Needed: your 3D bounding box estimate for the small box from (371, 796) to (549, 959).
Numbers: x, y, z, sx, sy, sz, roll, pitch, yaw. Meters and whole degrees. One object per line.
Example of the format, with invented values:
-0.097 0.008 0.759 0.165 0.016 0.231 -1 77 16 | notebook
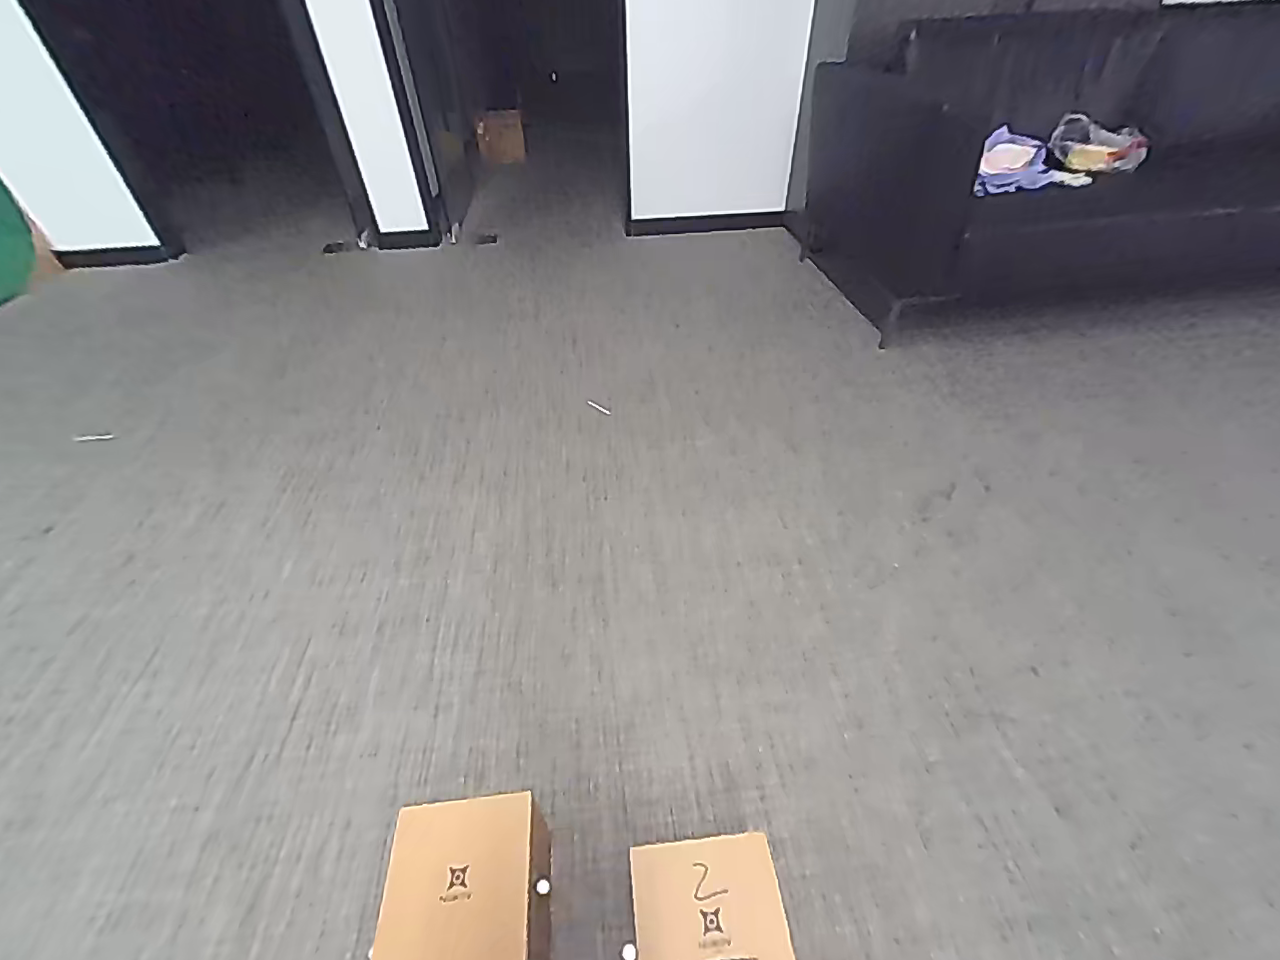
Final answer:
-0.208 0.524 0.672 0.168 0.176 0.179 -5 42 -4 | small box
